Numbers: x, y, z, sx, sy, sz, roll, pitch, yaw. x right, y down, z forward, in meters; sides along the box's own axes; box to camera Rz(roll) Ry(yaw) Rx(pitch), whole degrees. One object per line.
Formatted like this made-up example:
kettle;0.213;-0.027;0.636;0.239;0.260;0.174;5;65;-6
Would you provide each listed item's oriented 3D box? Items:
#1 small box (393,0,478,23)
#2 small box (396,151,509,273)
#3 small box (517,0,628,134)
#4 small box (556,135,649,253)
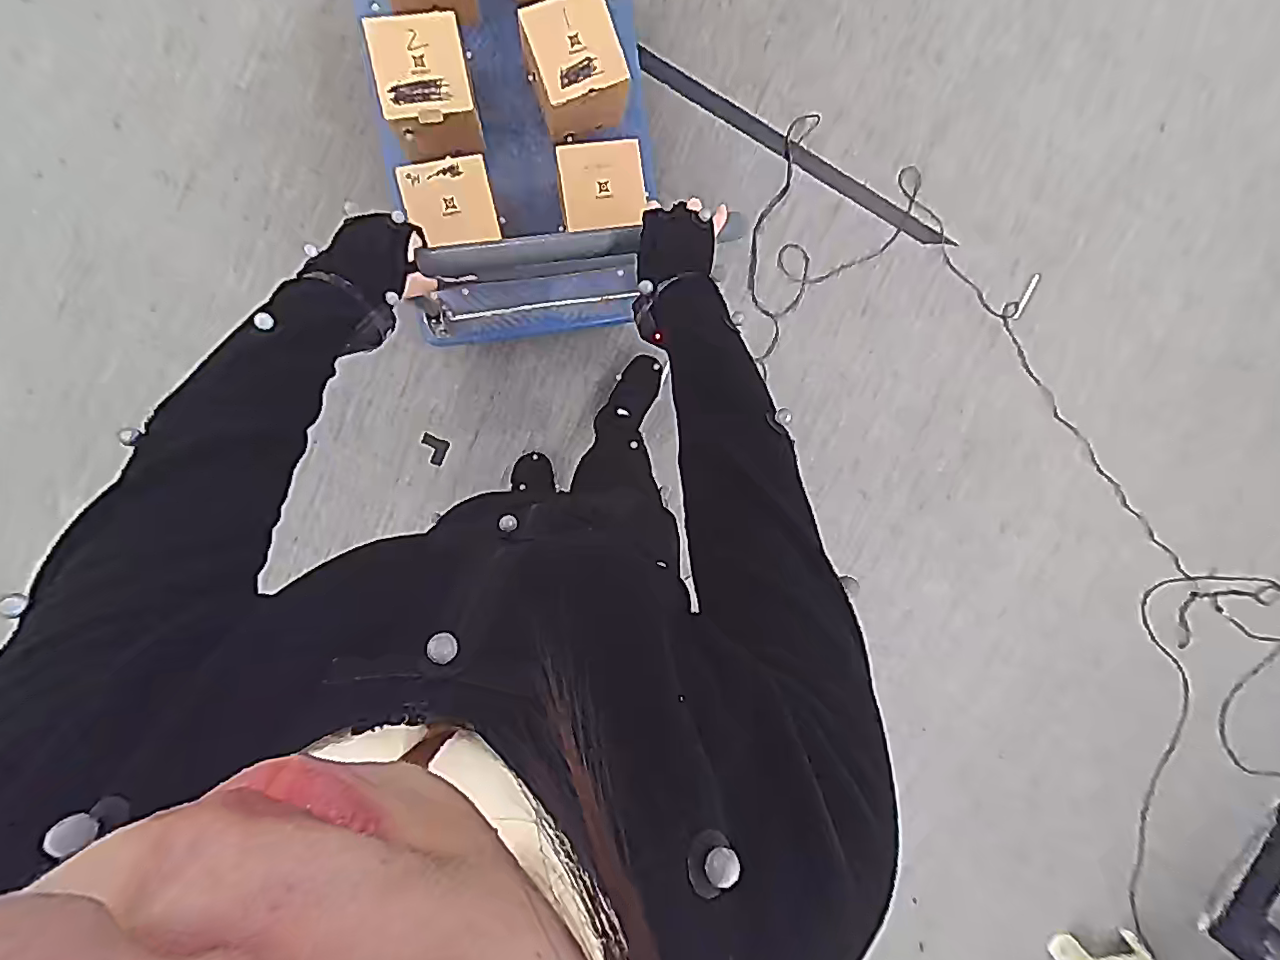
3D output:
small box;-0.415;-1.028;1.034;0.168;0.176;0.179;-8;100;-7
small box;-0.372;-0.536;1.110;0.168;0.176;0.179;-14;100;-7
small box;-0.135;-0.843;1.102;0.168;0.176;0.179;-22;100;-5
small box;-0.082;-0.594;1.145;0.168;0.176;0.179;-10;98;-7
